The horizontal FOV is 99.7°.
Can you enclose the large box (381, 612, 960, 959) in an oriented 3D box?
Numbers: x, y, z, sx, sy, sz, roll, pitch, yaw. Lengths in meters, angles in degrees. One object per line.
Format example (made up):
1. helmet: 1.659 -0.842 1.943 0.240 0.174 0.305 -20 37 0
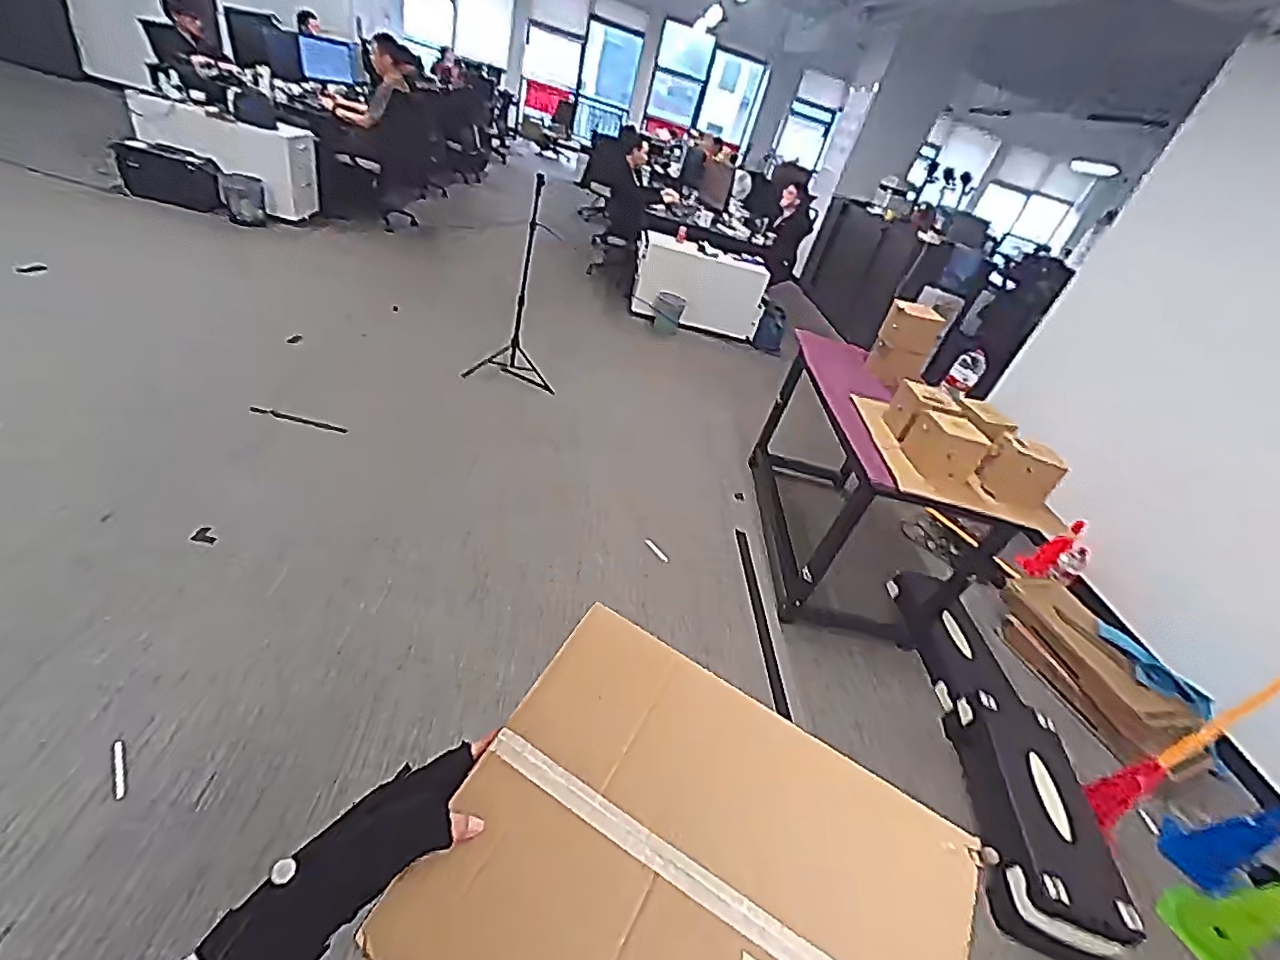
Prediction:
1. large box: 0.026 0.415 0.555 0.408 0.320 0.320 29 52 12
